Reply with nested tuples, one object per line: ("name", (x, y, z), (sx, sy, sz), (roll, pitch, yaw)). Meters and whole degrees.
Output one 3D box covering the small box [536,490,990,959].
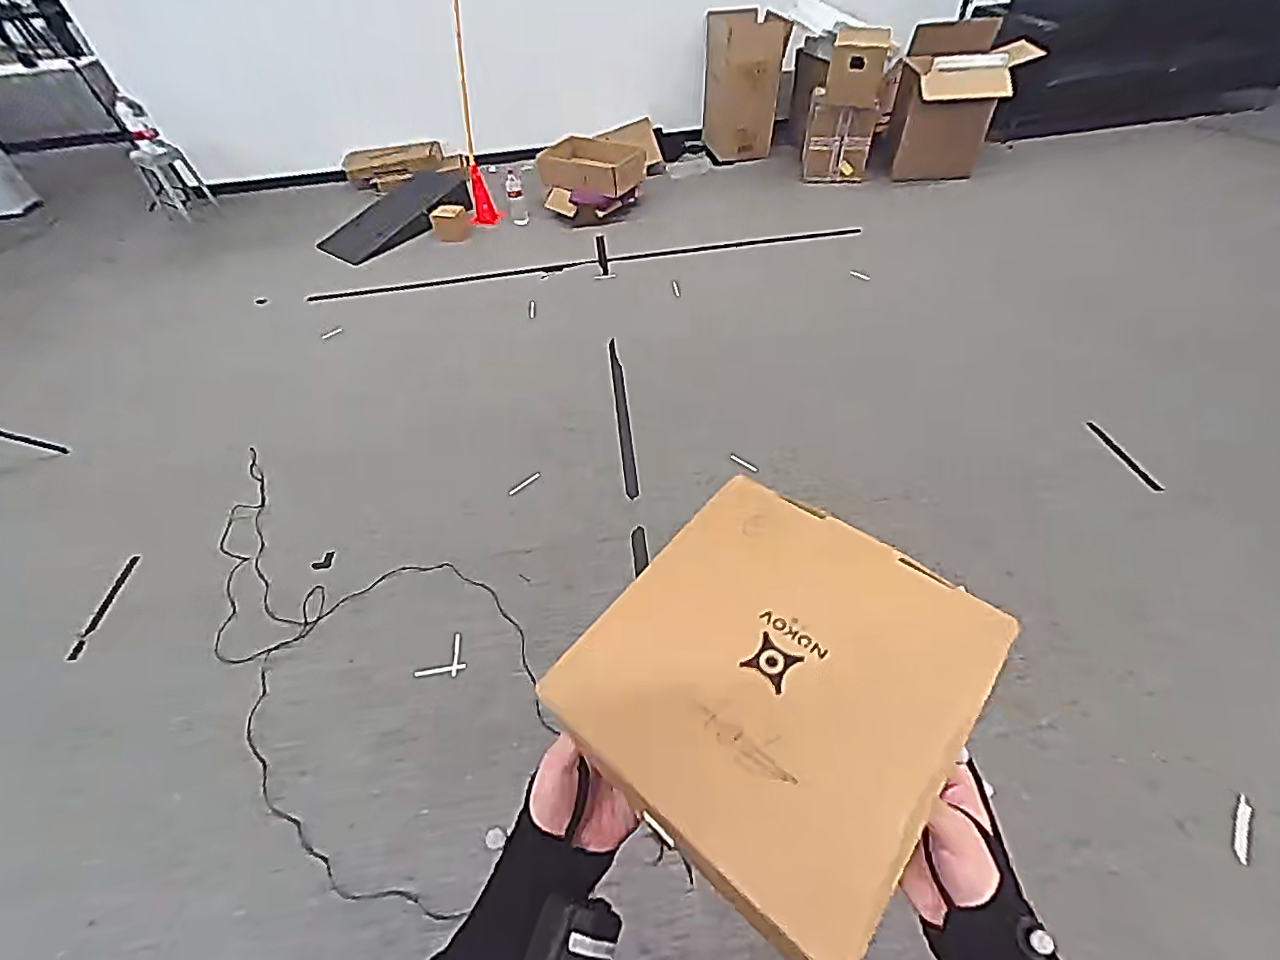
("small box", (0.070, 0.146, 0.332), (0.168, 0.176, 0.179), (29, 62, 29))
